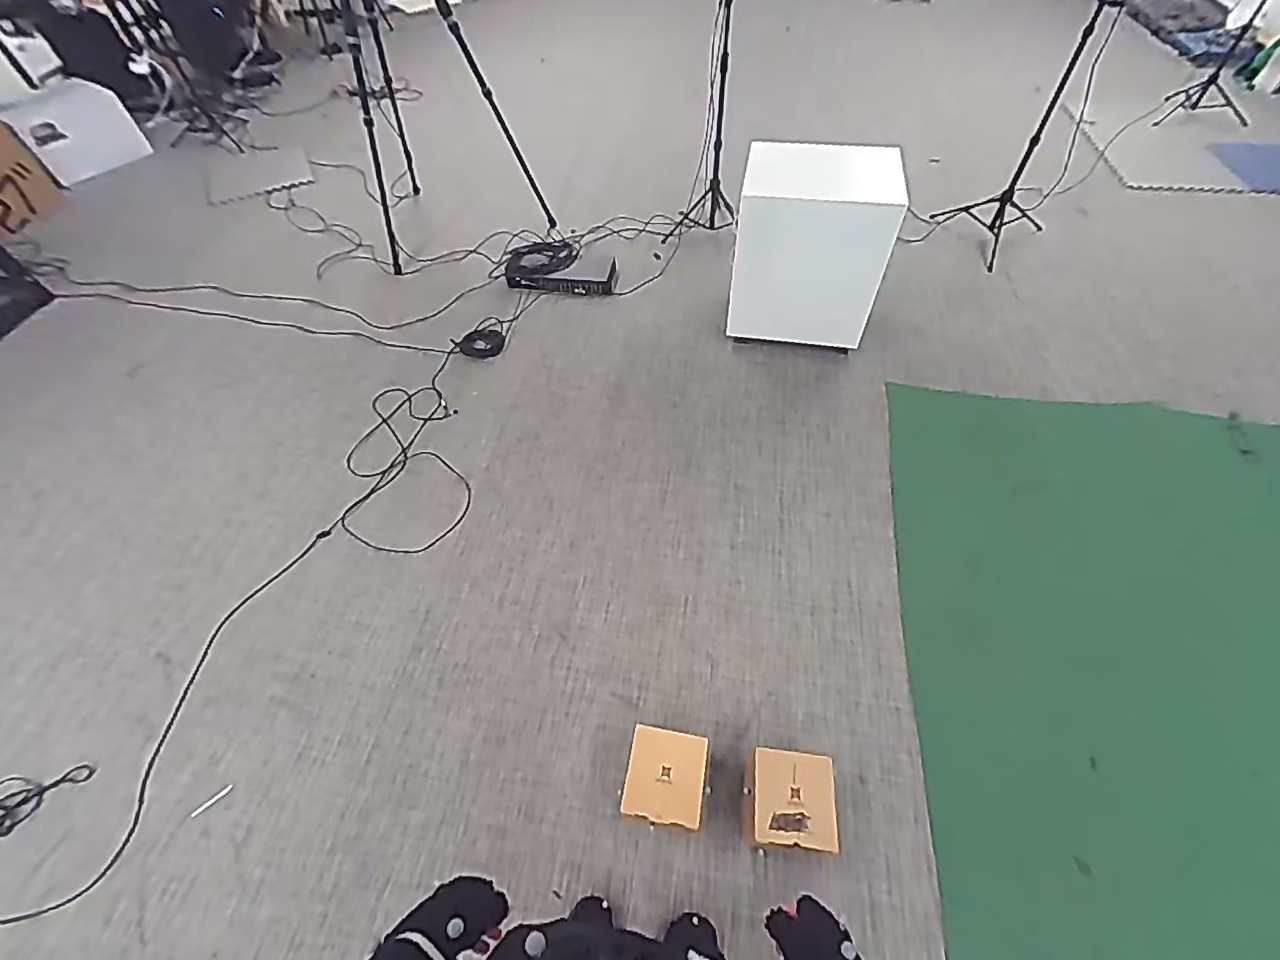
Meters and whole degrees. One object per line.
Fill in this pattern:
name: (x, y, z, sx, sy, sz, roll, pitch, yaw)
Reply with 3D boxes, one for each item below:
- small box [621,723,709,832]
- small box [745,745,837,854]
small box: (0.058, 0.672, 1.216, 0.168, 0.176, 0.179, 8, 55, 8)
small box: (0.323, 0.701, 1.180, 0.168, 0.176, 0.179, 5, 54, 7)
